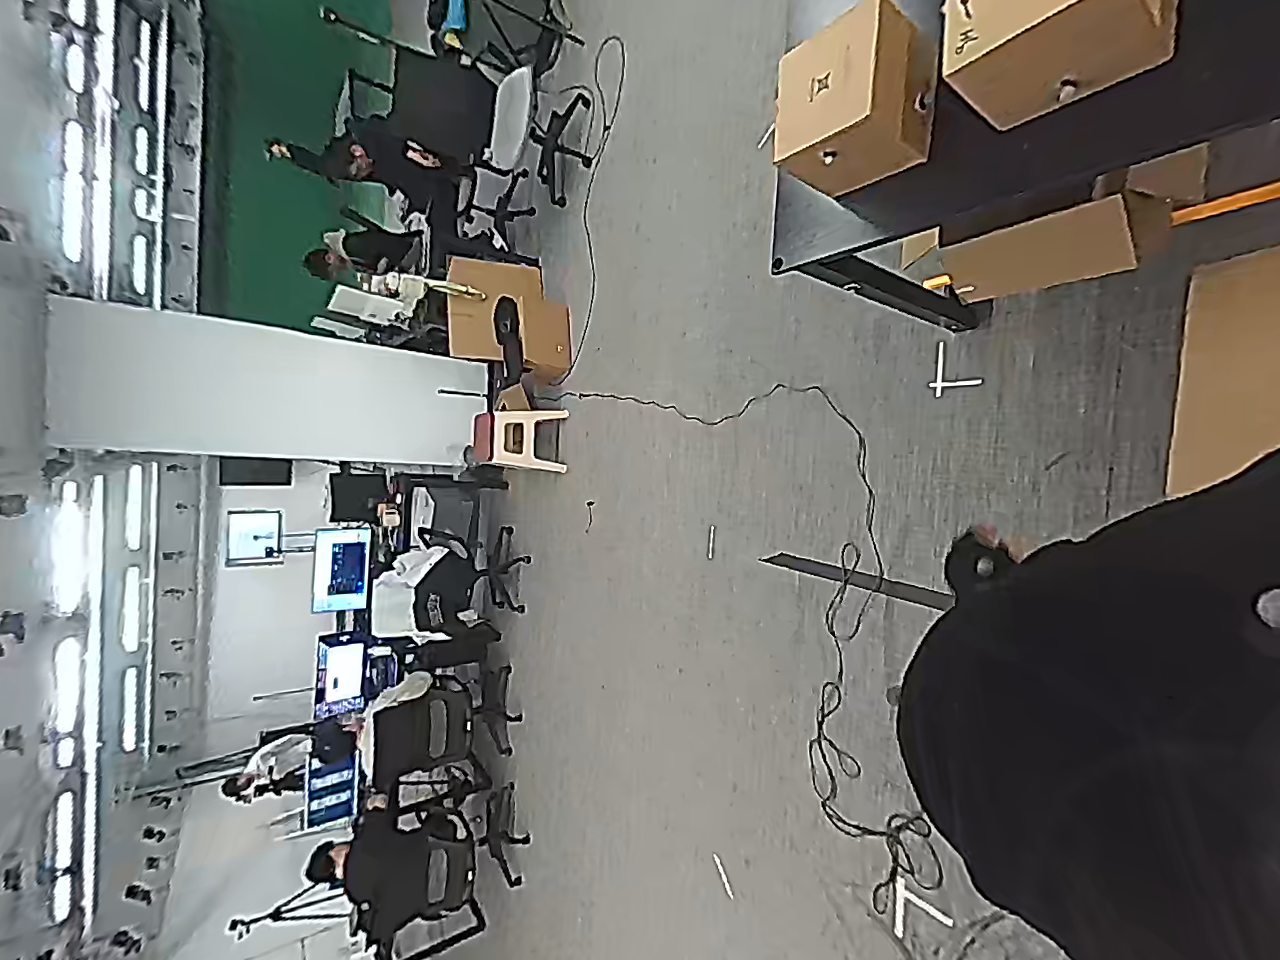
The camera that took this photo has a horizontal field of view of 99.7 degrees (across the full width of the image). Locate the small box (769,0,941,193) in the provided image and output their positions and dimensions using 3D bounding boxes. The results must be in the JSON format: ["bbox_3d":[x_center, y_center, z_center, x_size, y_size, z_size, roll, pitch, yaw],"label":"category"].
[{"bbox_3d":[0.327,-0.572,0.833,0.179,0.176,0.168,9,96,53],"label":"small box"}]

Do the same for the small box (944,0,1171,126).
[{"bbox_3d":[0.480,-0.555,0.618,0.179,0.176,0.168,3,91,53],"label":"small box"}]
